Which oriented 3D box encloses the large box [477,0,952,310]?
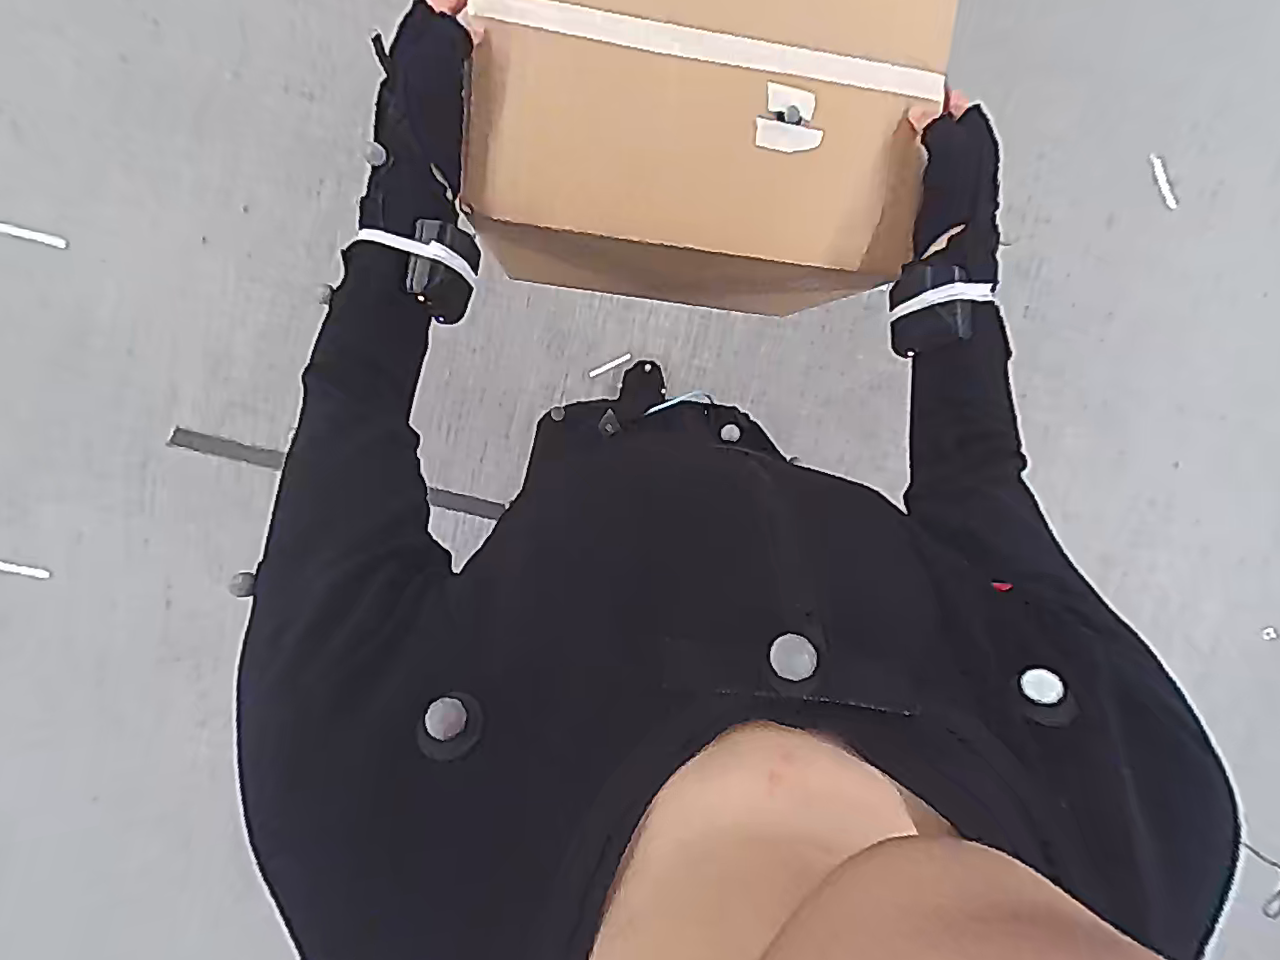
[{"bbox_3d":[0.051,-0.391,0.609,0.408,0.320,0.320,6,100,-8],"label":"large box"}]
